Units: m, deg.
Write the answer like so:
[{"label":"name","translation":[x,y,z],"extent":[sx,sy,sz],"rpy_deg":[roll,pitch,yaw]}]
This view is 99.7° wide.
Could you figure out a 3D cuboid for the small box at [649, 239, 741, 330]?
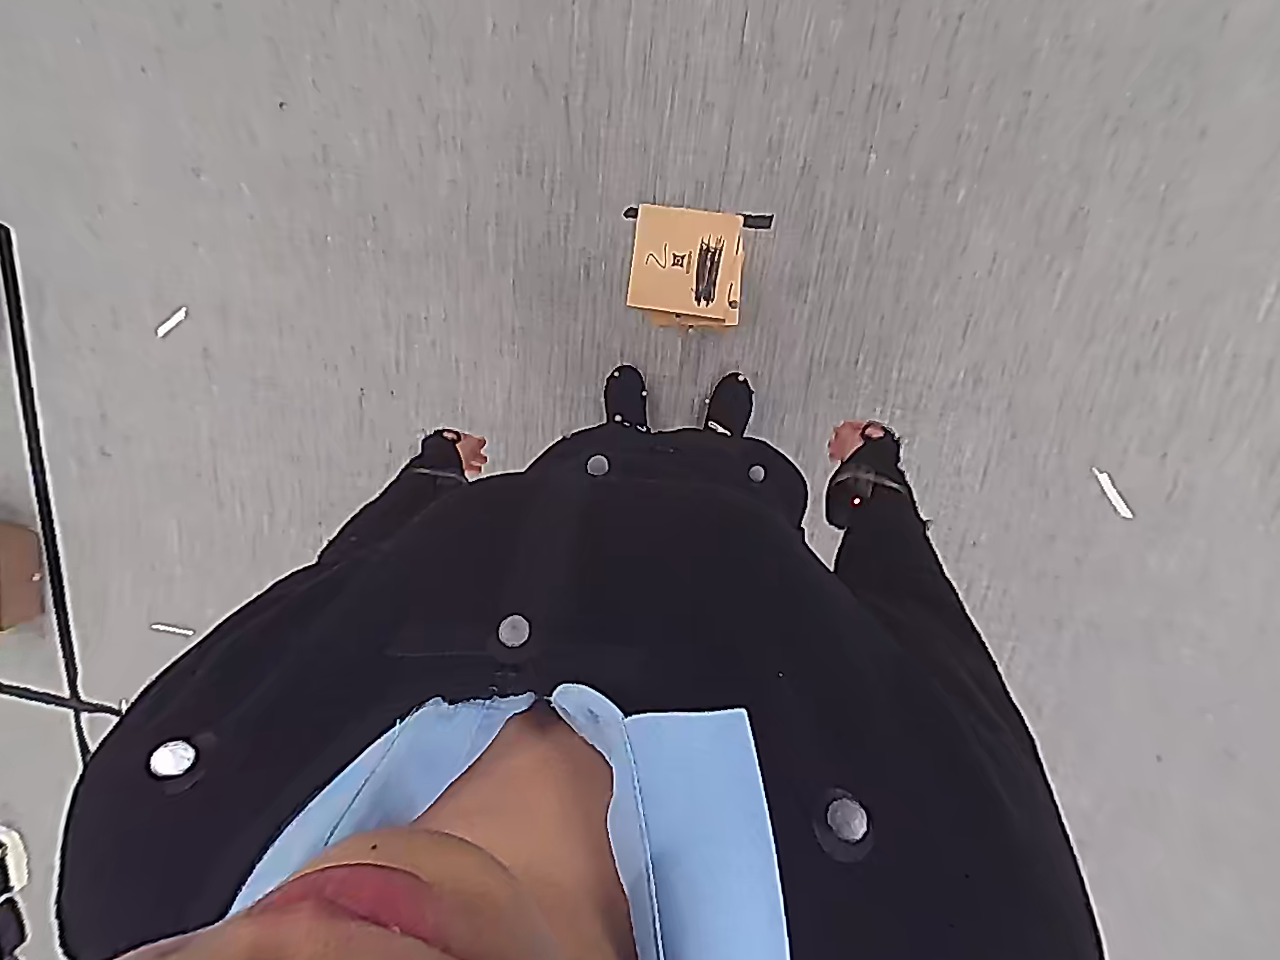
[{"label":"small box","translation":[0.115,-0.407,1.140],"extent":[0.179,0.176,0.168],"rpy_deg":[3,103,7]}]
